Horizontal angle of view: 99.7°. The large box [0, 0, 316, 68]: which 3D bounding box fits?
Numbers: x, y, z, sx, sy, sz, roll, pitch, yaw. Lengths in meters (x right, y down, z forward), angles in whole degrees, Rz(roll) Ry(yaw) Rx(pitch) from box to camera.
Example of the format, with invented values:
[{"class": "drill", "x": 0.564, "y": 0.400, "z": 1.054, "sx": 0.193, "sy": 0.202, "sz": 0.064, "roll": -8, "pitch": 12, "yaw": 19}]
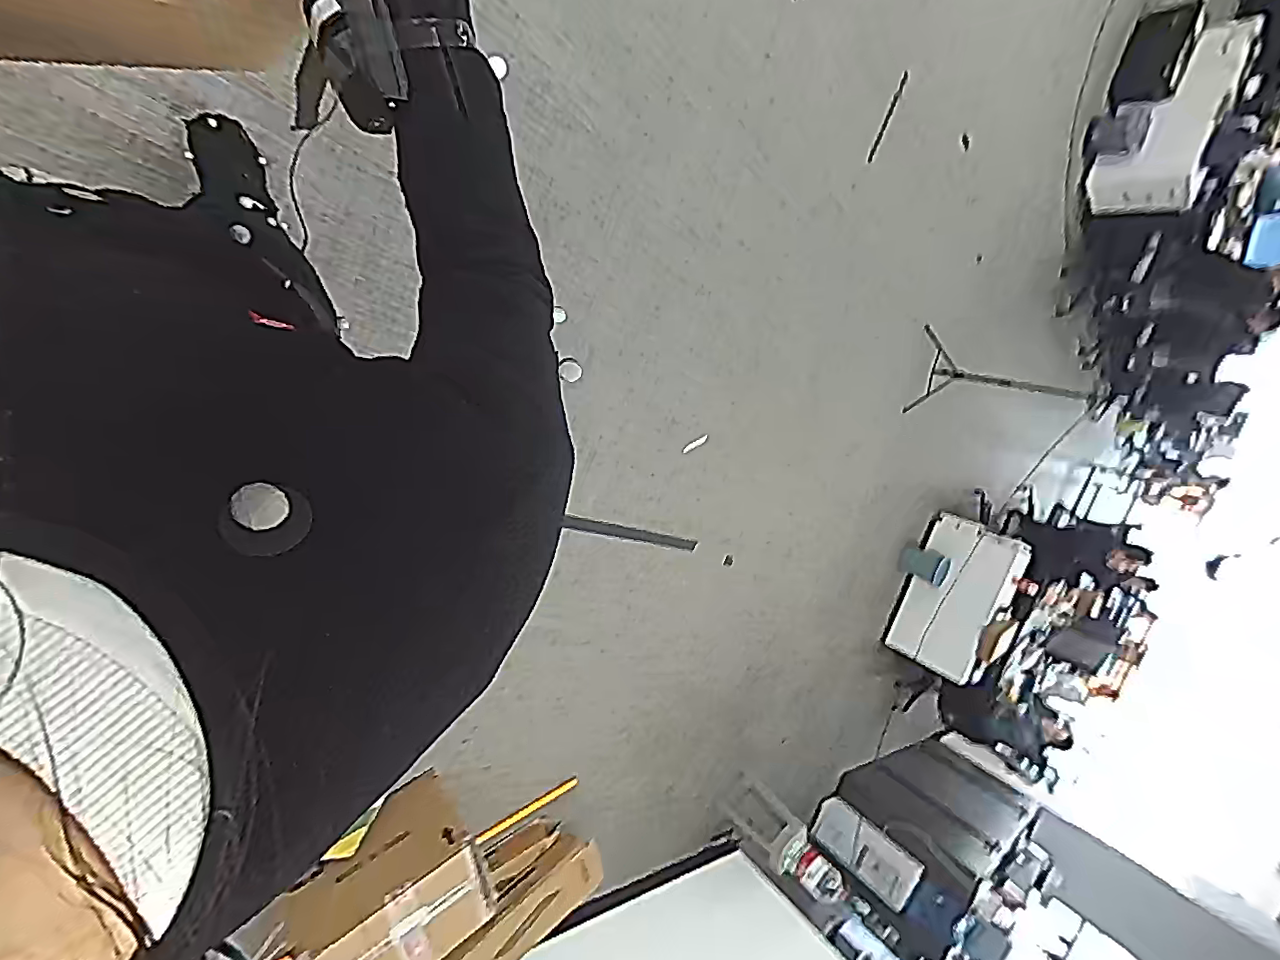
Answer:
[{"class": "large box", "x": -0.425, "y": -0.399, "z": 0.233, "sx": 0.408, "sy": 0.320, "sz": 0.320, "roll": -24, "pitch": 127, "yaw": -32}]
